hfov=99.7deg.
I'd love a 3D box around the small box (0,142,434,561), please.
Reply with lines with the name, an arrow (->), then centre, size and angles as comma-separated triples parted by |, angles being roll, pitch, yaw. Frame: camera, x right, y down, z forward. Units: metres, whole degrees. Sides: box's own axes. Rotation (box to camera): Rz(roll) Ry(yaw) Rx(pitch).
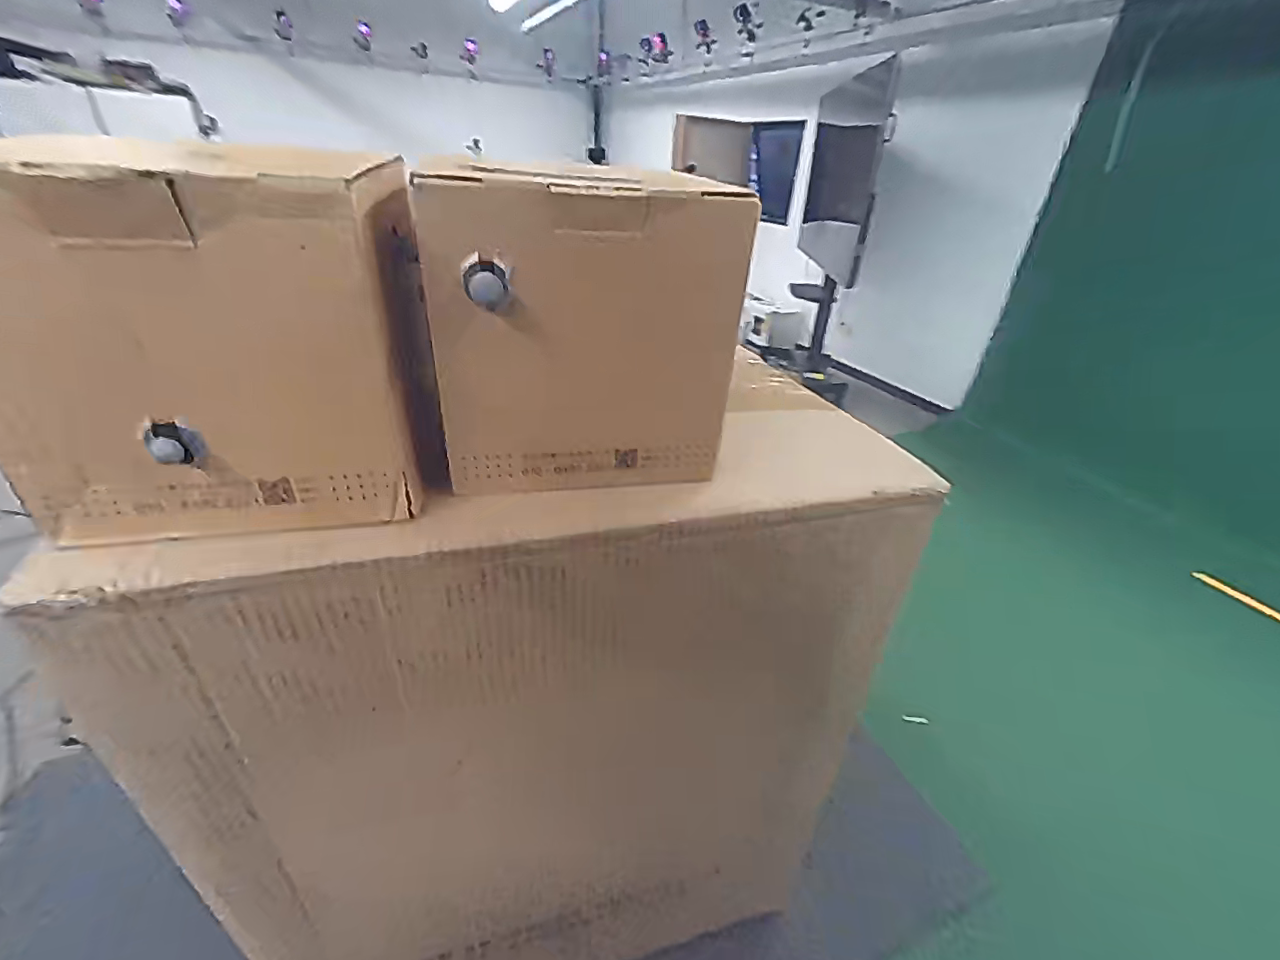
small box -> -0.214, -0.078, 0.300 | 0.168, 0.176, 0.179 | -4, 35, -14
